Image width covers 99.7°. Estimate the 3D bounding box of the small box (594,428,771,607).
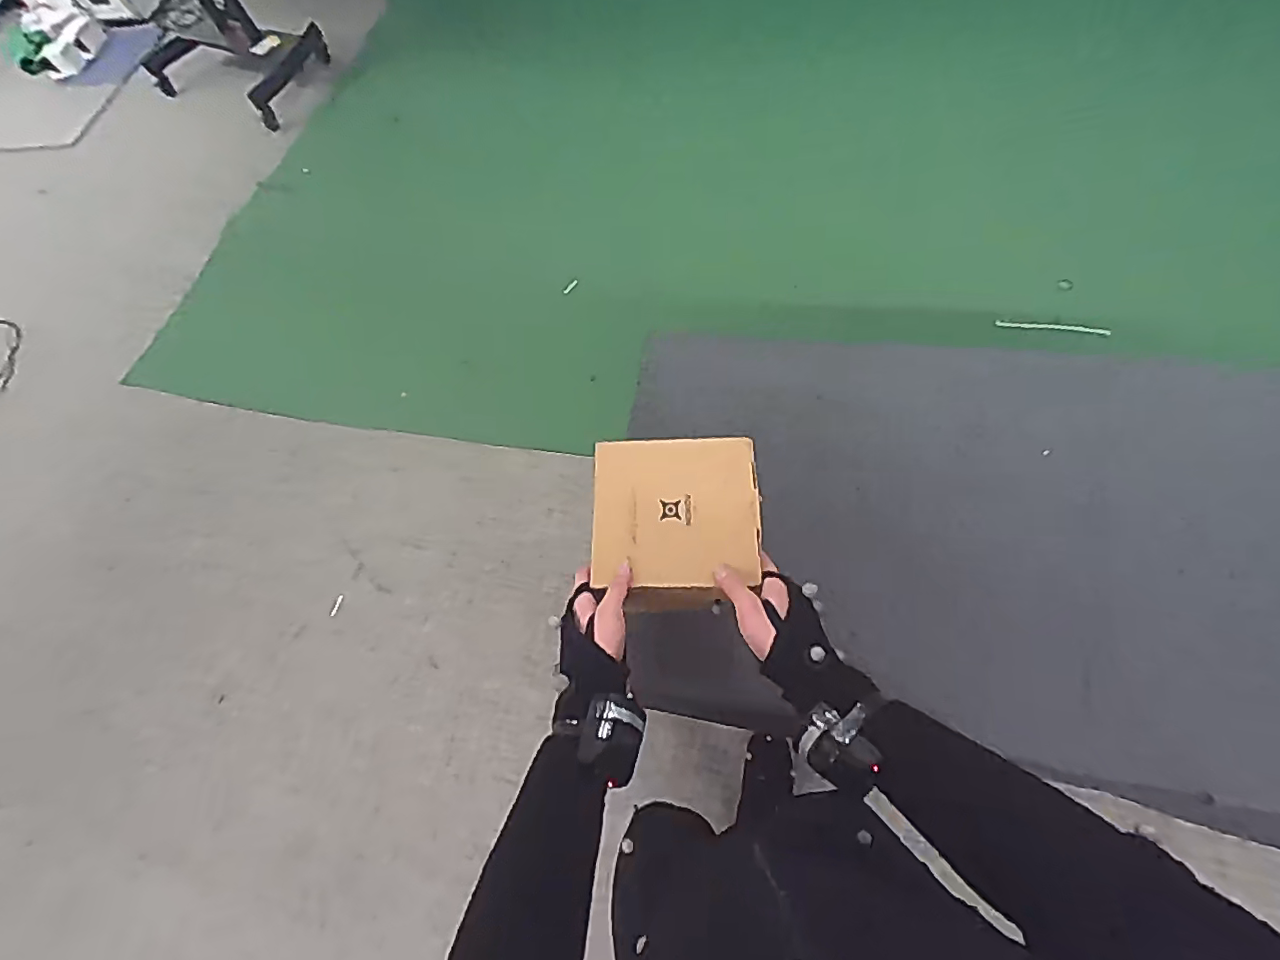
[{"bbox_3d":[0.049,0.051,0.632,0.179,0.176,0.168,-2,66,5],"label":"small box"}]
